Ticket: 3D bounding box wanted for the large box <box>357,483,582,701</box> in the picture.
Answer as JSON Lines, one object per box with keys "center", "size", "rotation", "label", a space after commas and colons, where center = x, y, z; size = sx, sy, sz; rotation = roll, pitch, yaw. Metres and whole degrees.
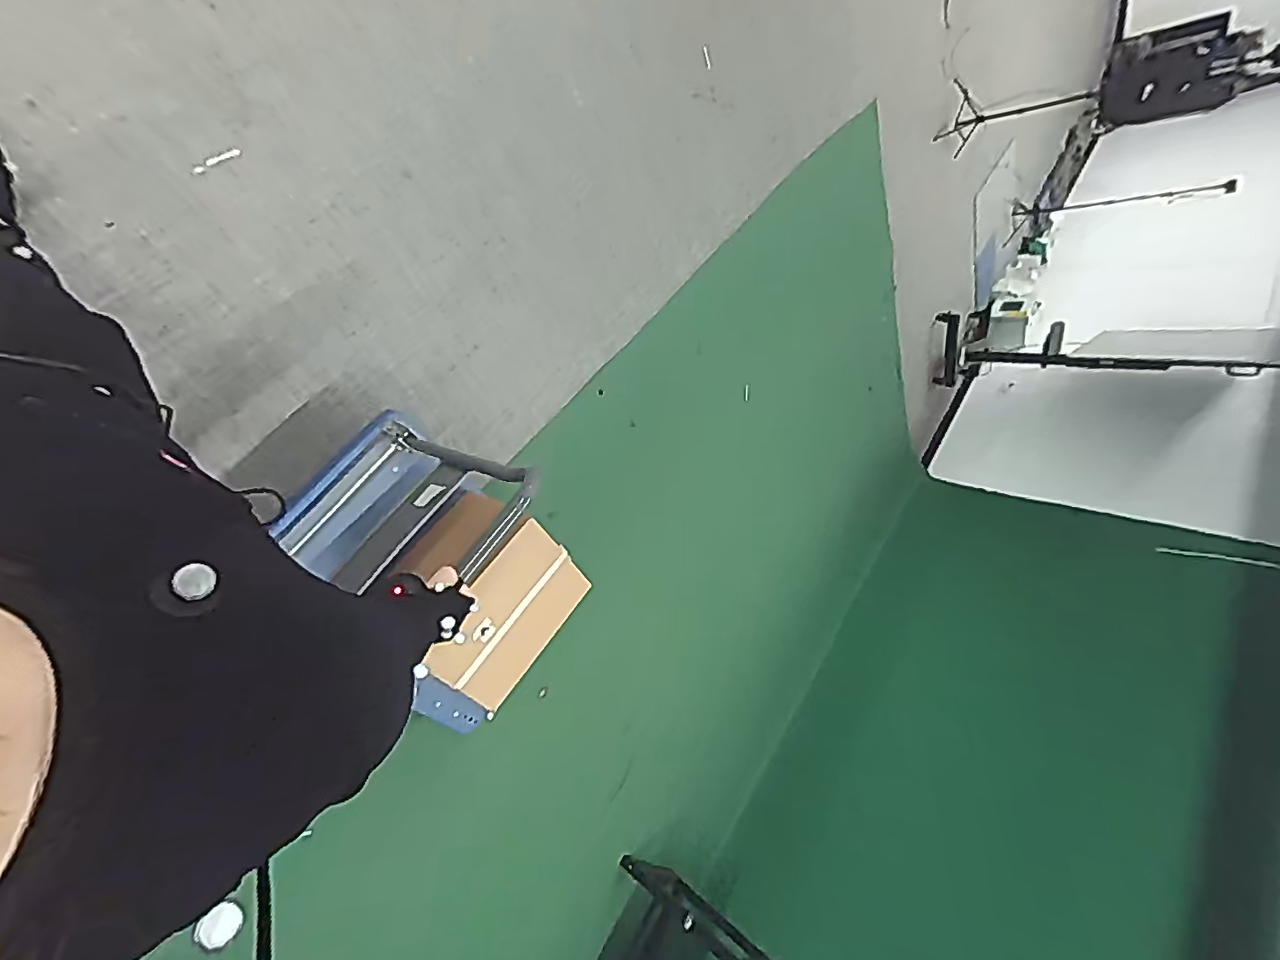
{"center": [-0.434, 0.276, 1.416], "size": [0.408, 0.320, 0.320], "rotation": [-51, 132, -22], "label": "large box"}
